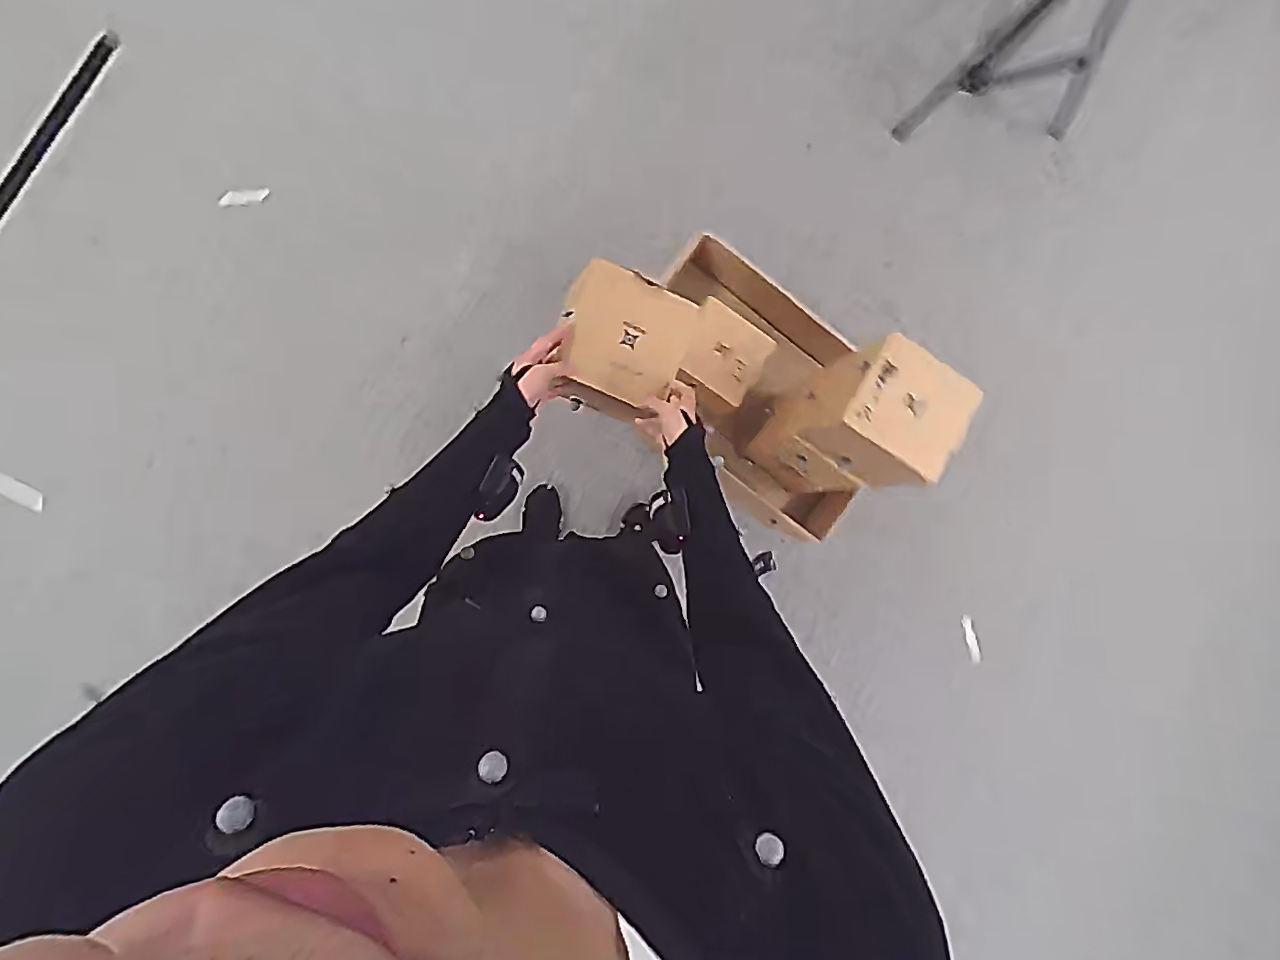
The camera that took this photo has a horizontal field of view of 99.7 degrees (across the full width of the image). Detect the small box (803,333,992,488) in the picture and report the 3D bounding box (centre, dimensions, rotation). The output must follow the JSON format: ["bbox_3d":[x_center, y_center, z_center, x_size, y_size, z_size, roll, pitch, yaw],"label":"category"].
[{"bbox_3d":[0.400,-0.101,0.867,0.179,0.176,0.168,34,83,-5],"label":"small box"}]

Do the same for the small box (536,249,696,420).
[{"bbox_3d":[-0.044,-0.202,0.809,0.168,0.176,0.179,21,85,-19],"label":"small box"}]

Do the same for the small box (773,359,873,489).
[{"bbox_3d":[0.378,-0.095,1.030,0.168,0.176,0.179,36,84,-4],"label":"small box"}]
